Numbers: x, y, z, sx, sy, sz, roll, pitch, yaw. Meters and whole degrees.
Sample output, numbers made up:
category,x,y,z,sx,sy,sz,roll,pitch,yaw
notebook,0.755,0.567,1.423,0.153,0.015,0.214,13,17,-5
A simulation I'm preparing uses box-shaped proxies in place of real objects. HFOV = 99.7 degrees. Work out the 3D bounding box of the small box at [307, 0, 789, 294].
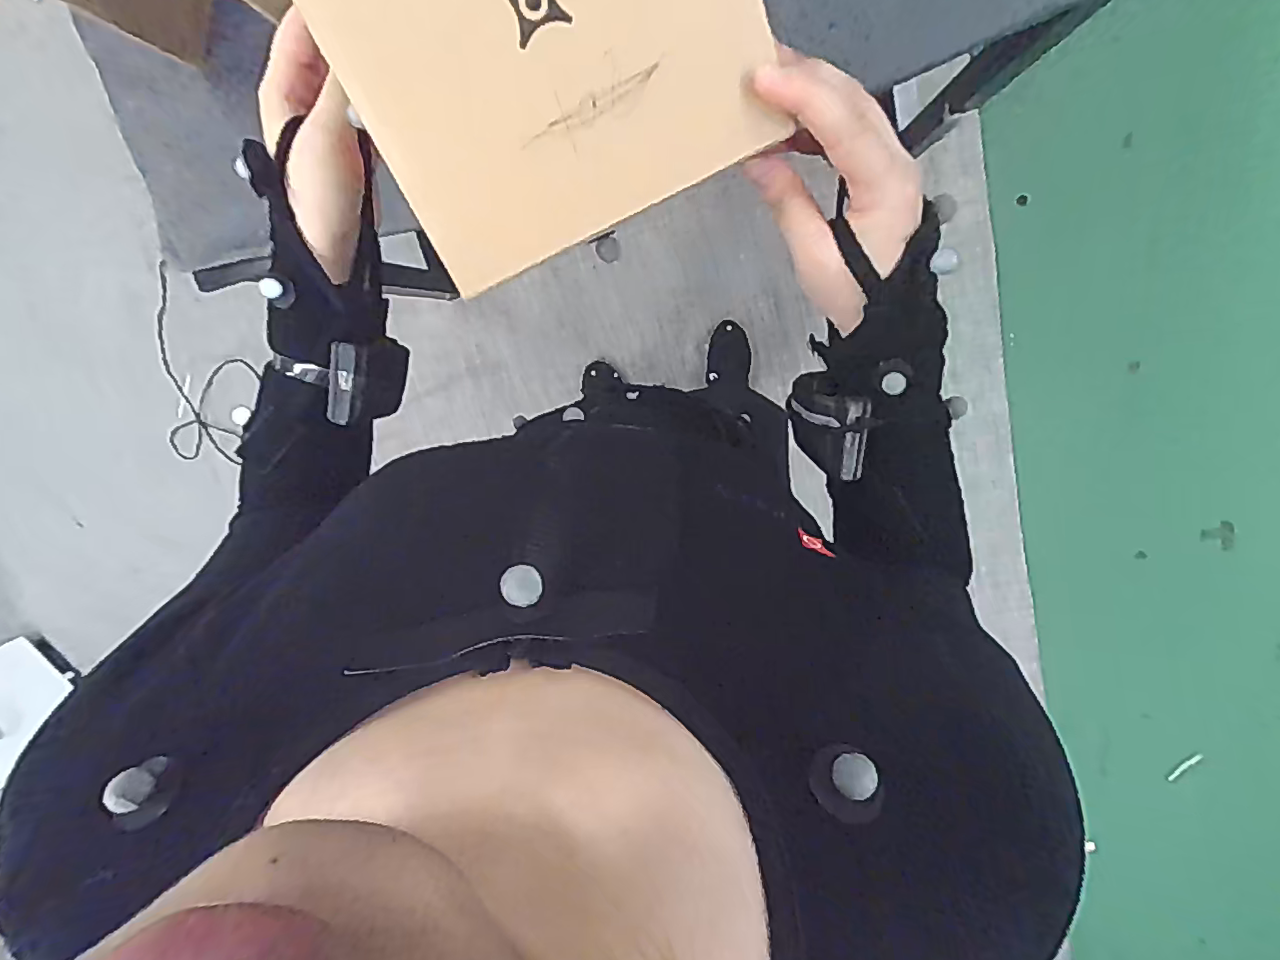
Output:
category,x,y,z,sx,sy,sz,roll,pitch,yaw
small box,-0.046,-0.220,0.286,0.168,0.176,0.179,-23,114,7

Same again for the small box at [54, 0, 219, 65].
category,x,y,z,sx,sy,sz,roll,pitch,yaw
small box,-0.591,-0.588,0.569,0.179,0.176,0.168,26,107,-1
